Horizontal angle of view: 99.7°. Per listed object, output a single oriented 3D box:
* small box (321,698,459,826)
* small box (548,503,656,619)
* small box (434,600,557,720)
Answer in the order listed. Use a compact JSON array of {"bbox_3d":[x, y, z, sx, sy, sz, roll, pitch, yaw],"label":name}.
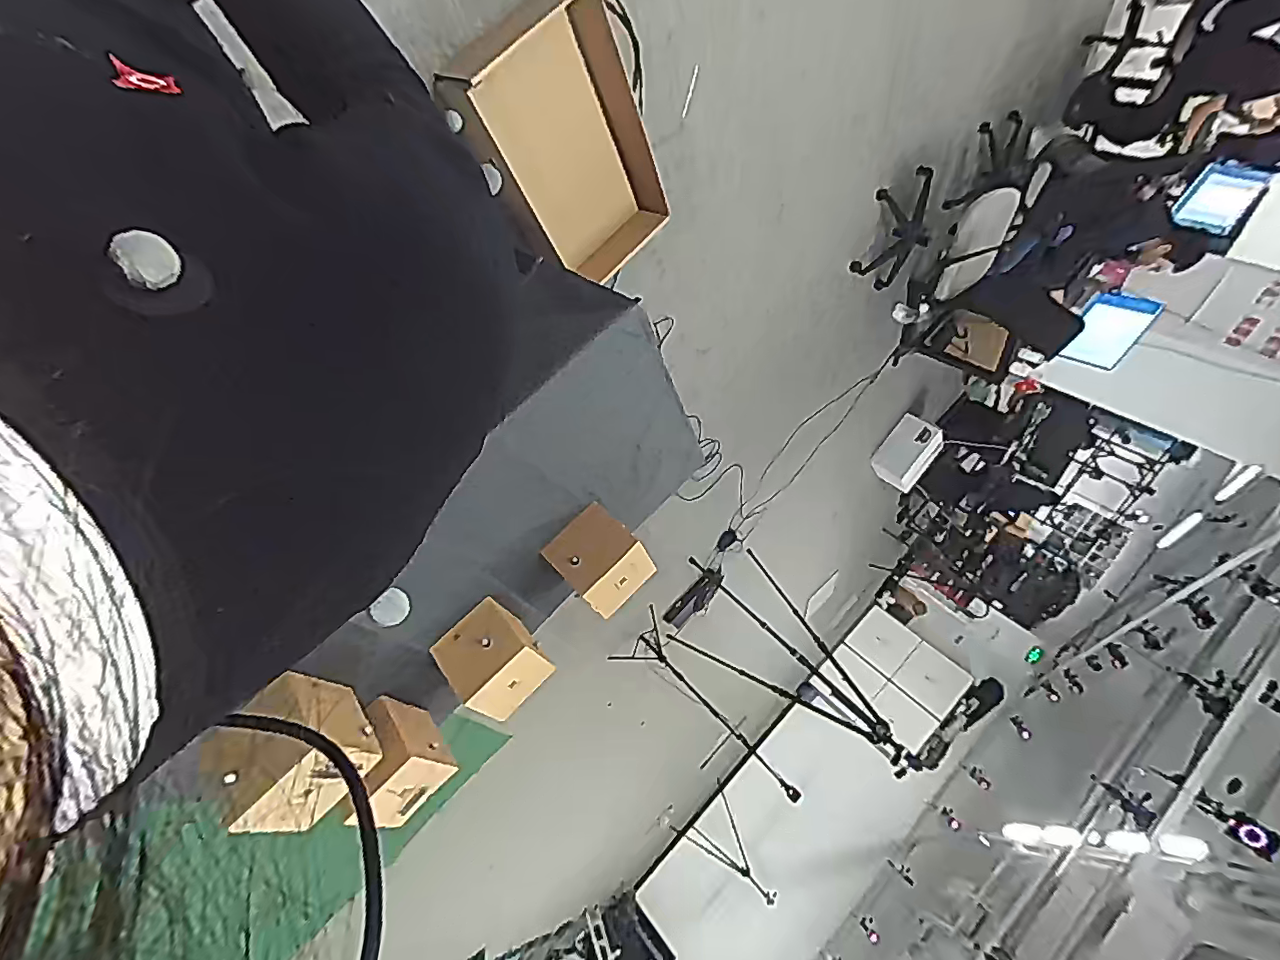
[{"bbox_3d":[-0.526,0.593,1.143,0.168,0.176,0.179,-43,145,-13],"label":"small box"},{"bbox_3d":[-0.094,0.189,1.278,0.179,0.176,0.168,-43,145,-12],"label":"small box"},{"bbox_3d":[-0.323,0.396,1.206,0.168,0.176,0.179,-43,146,-13],"label":"small box"}]
